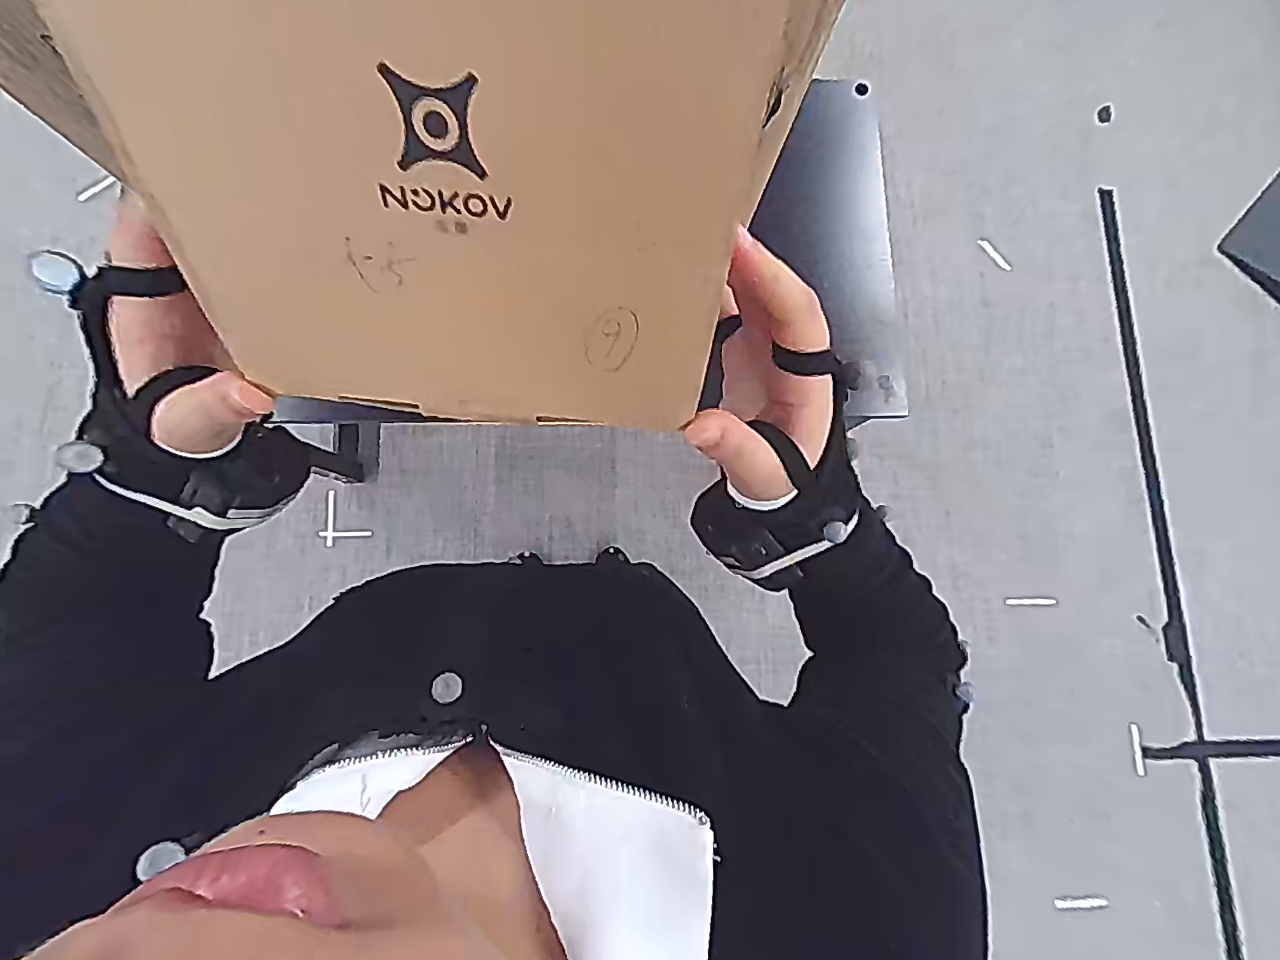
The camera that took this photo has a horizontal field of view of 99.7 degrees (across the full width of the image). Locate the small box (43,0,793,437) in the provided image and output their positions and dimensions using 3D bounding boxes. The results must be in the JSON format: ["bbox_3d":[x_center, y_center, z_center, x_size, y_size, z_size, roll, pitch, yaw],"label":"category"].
[{"bbox_3d":[-0.050,-0.142,0.196,0.168,0.179,0.176,5,47,-4],"label":"small box"}]
